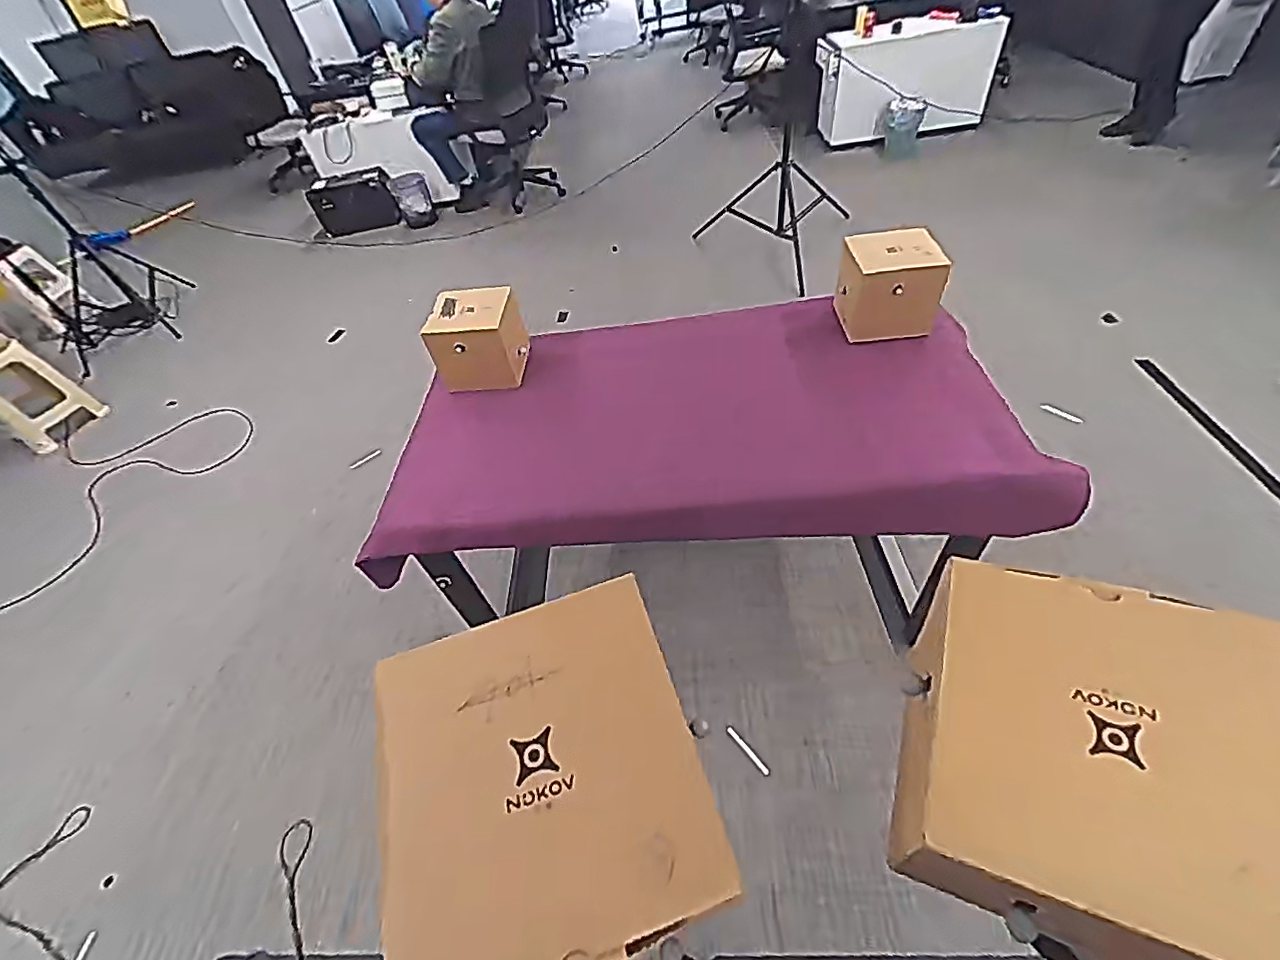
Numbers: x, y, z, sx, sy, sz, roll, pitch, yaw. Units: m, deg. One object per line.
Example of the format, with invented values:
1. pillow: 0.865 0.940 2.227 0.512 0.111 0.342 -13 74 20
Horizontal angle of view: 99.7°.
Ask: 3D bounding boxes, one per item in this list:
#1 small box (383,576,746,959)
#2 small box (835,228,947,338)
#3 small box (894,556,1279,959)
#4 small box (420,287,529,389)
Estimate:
1. small box: -0.045 0.196 0.351 0.168 0.176 0.179 -18 53 -8
2. small box: 0.539 -0.430 1.195 0.179 0.176 0.168 -4 49 5
3. small box: 0.267 0.179 0.344 0.168 0.176 0.179 10 55 24
4. small box: -0.376 -0.326 1.262 0.179 0.176 0.168 -3 50 6
